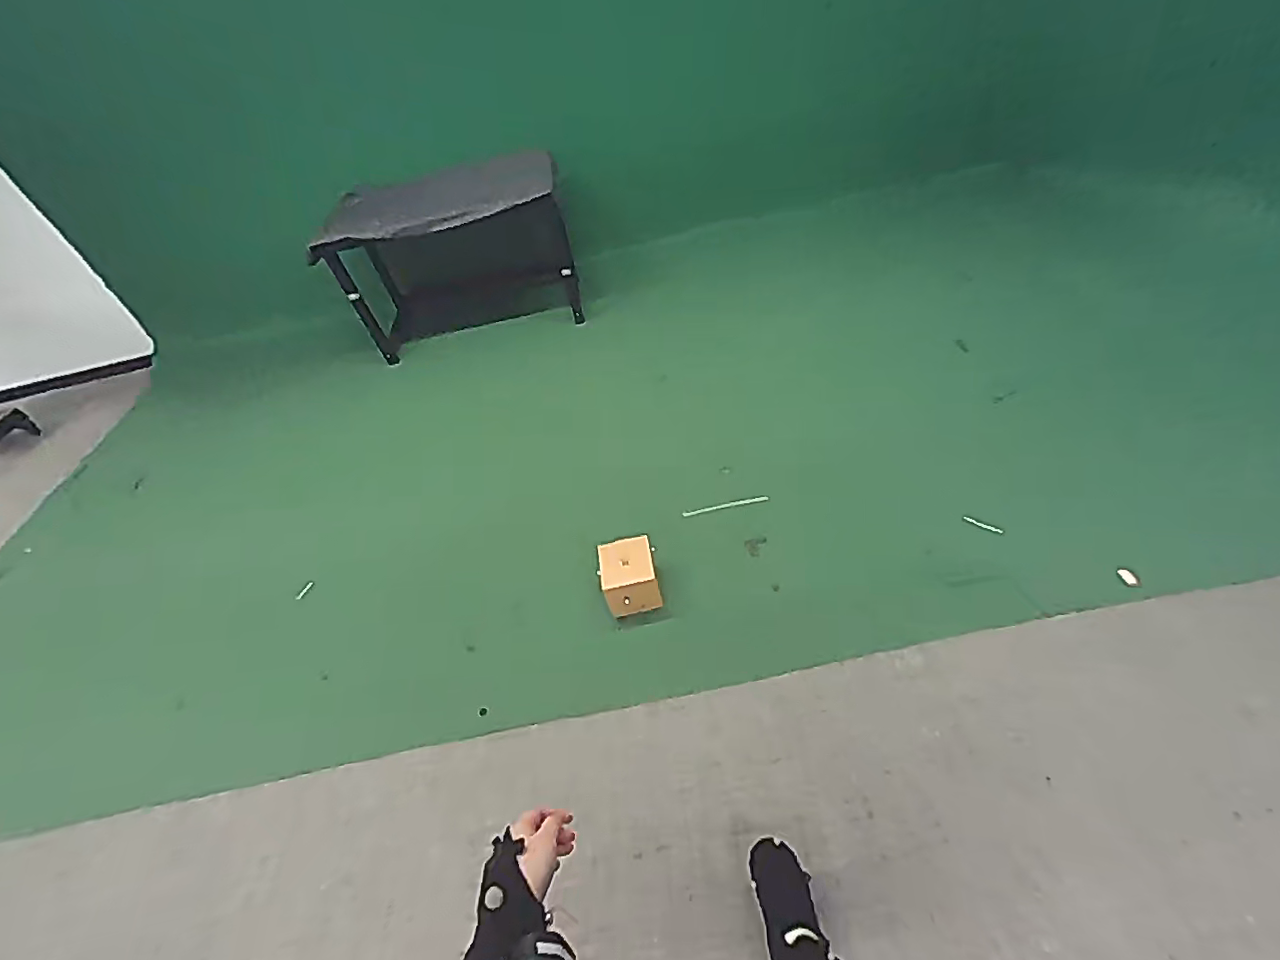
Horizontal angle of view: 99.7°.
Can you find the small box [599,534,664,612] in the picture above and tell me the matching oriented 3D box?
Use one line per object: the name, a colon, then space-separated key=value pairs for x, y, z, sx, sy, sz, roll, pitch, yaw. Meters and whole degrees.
small box: x=-0.026 y=0.303 z=1.727 sx=0.168 sy=0.176 sz=0.179 roll=-13 pitch=44 yaw=2
